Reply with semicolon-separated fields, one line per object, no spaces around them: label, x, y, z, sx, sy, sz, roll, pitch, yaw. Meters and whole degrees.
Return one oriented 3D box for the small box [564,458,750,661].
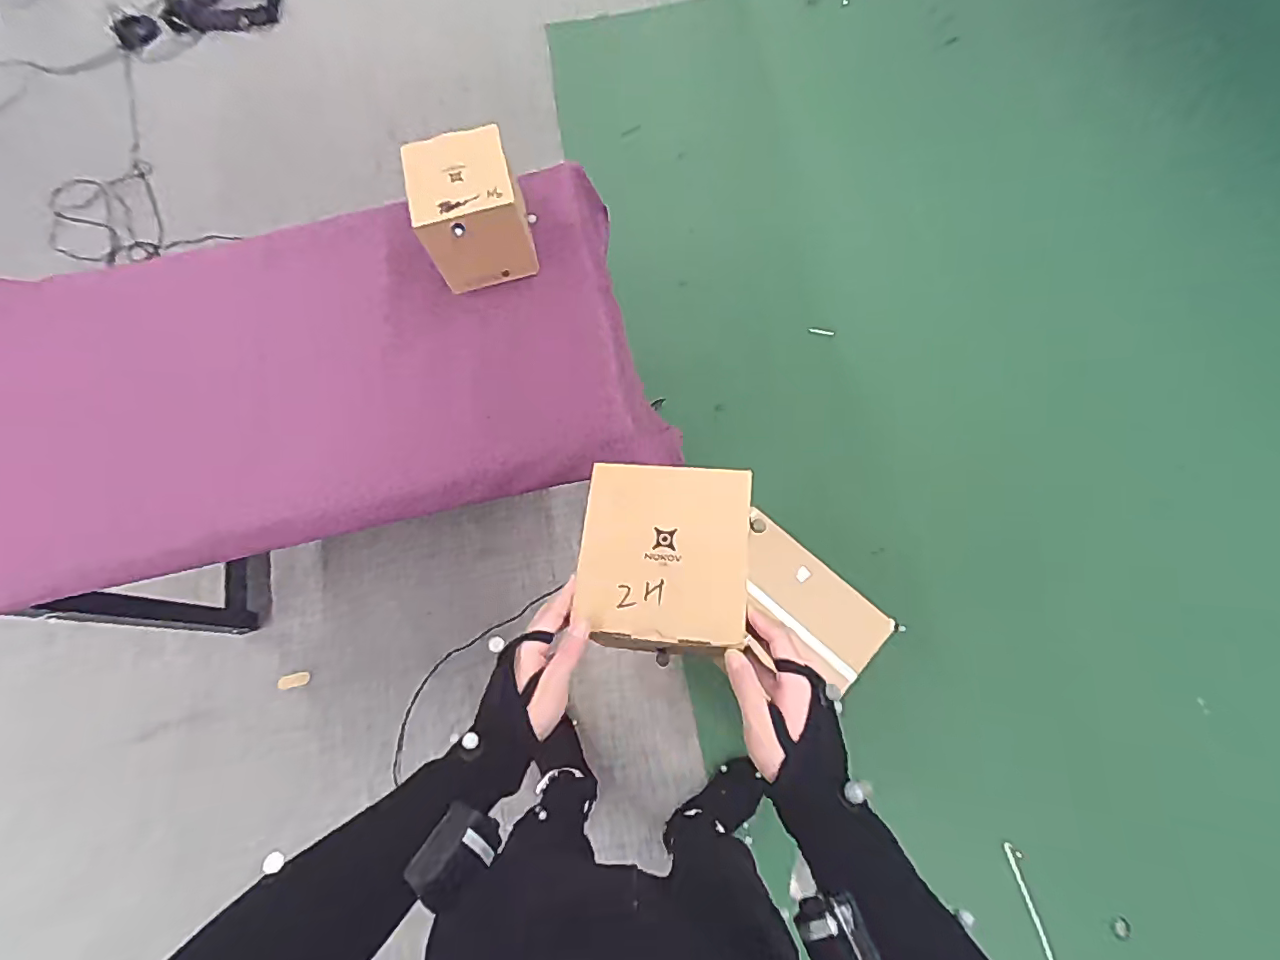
small box;0.029;0.093;0.597;0.168;0.176;0.179;3;68;10

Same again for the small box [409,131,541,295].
small box;-0.283;-0.460;0.948;0.168;0.176;0.179;-15;71;-1
